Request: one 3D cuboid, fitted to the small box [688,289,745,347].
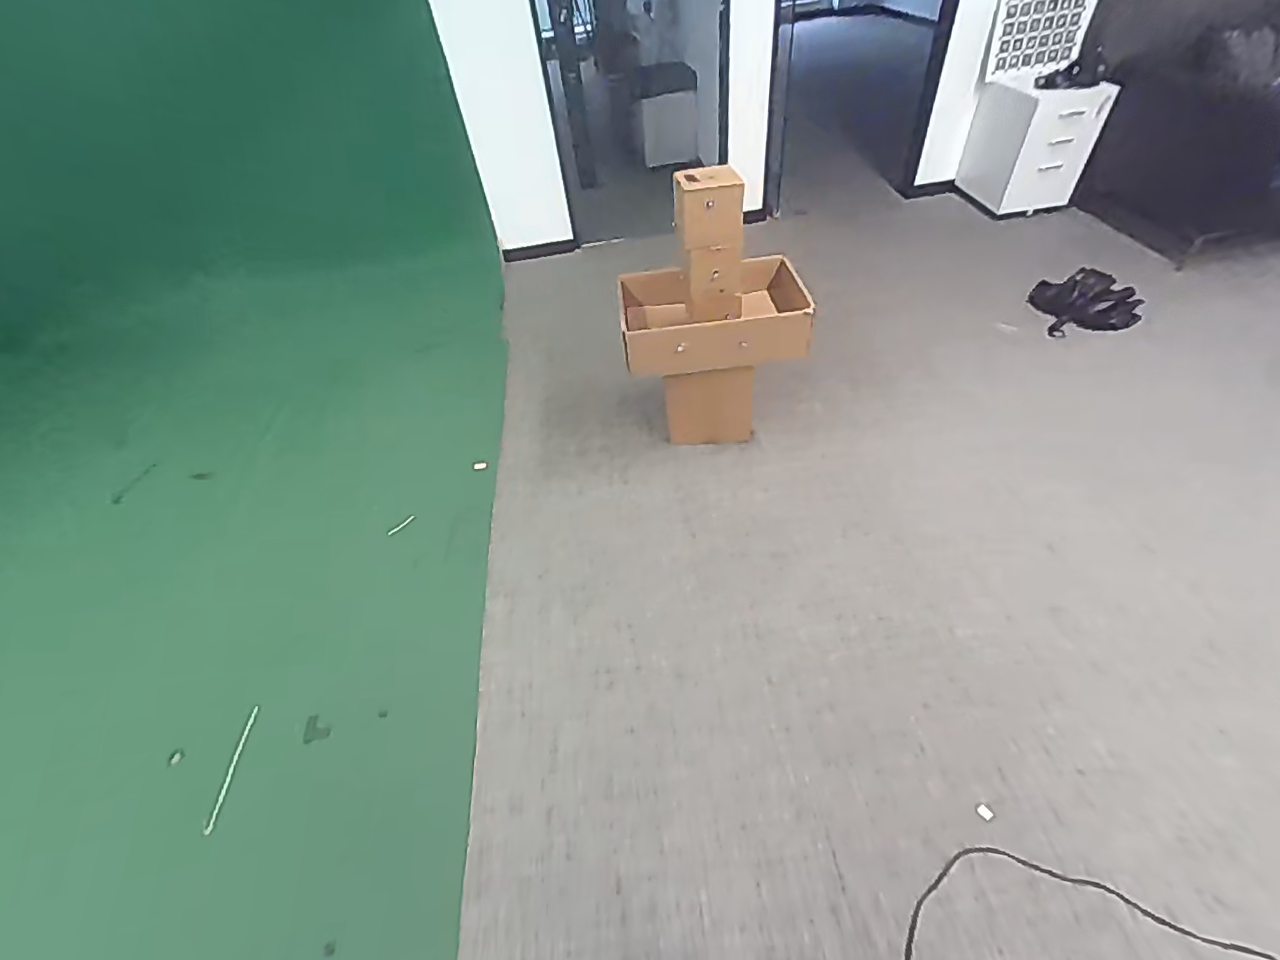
[{"bbox_3d":[0.264,-0.574,1.869,0.168,0.176,0.179,-8,44,-1],"label":"small box"}]

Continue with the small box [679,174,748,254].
[{"bbox_3d":[0.219,-0.798,1.633,0.179,0.176,0.168,-9,46,-2],"label":"small box"}]

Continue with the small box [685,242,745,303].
[{"bbox_3d":[0.241,-0.688,1.754,0.168,0.176,0.179,-8,47,-1],"label":"small box"}]
